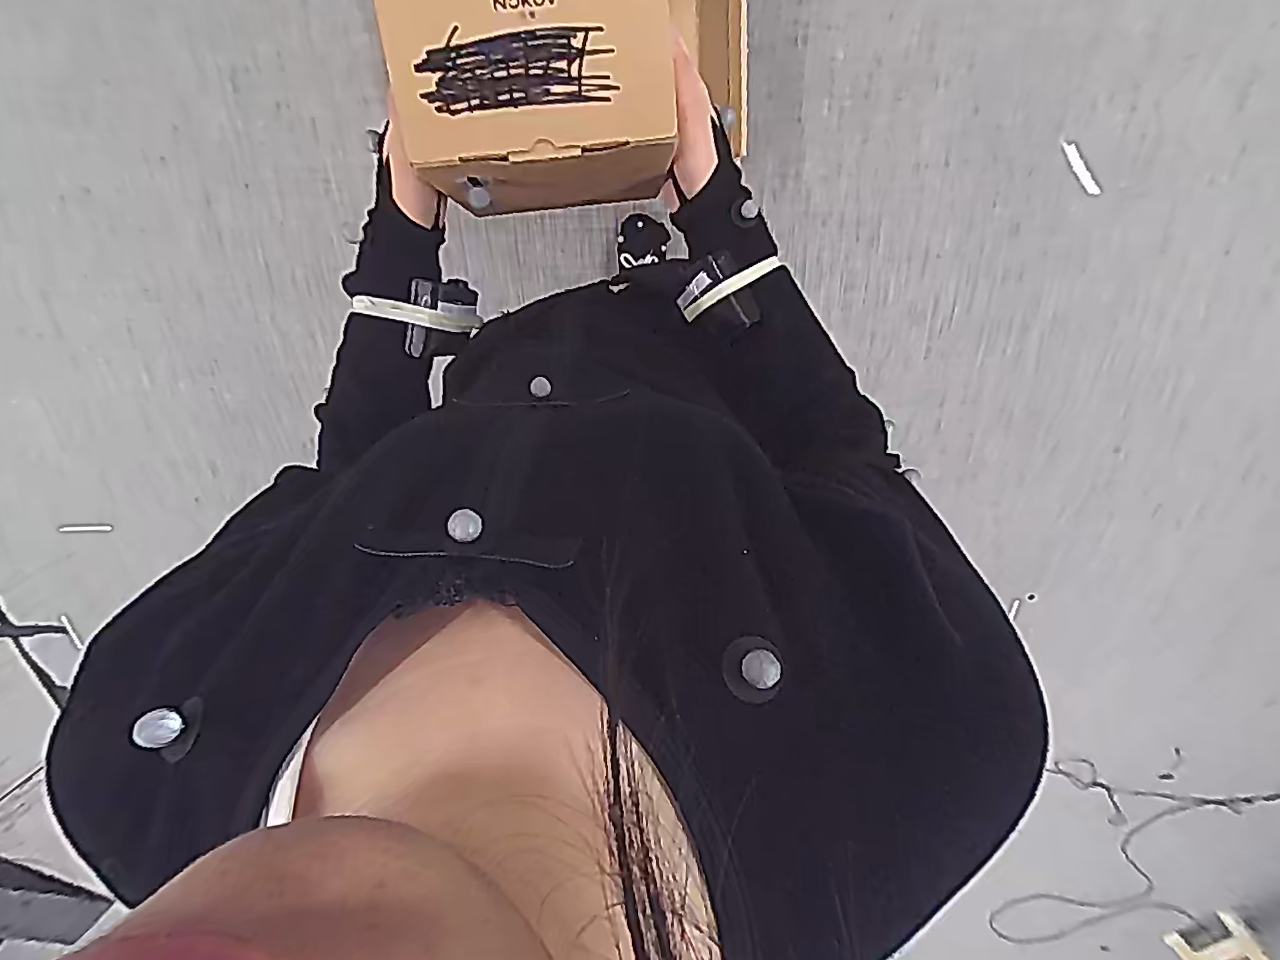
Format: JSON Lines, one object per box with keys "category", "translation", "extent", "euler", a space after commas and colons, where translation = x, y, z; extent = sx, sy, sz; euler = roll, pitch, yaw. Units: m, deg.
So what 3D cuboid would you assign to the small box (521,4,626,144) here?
{"category": "small box", "translation": [-0.123, -0.788, 1.068], "extent": [0.168, 0.176, 0.179], "euler": [-9, 116, 4]}
